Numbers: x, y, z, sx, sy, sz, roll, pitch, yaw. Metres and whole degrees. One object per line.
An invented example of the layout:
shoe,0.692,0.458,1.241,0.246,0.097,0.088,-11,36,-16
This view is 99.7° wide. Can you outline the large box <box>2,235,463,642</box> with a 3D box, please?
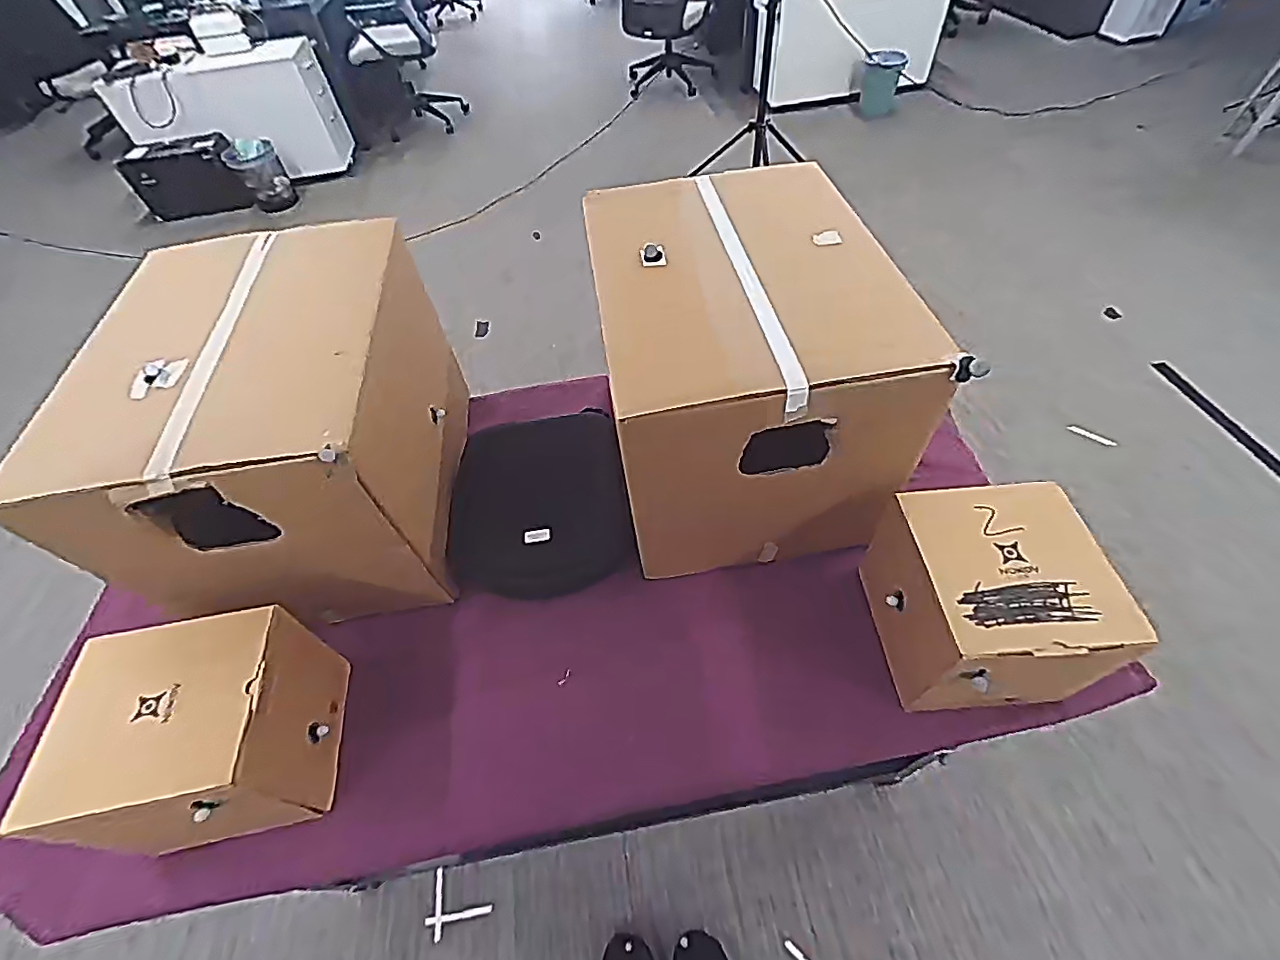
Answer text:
large box,-0.430,-0.053,0.707,0.320,0.320,0.408,-10,55,-2
